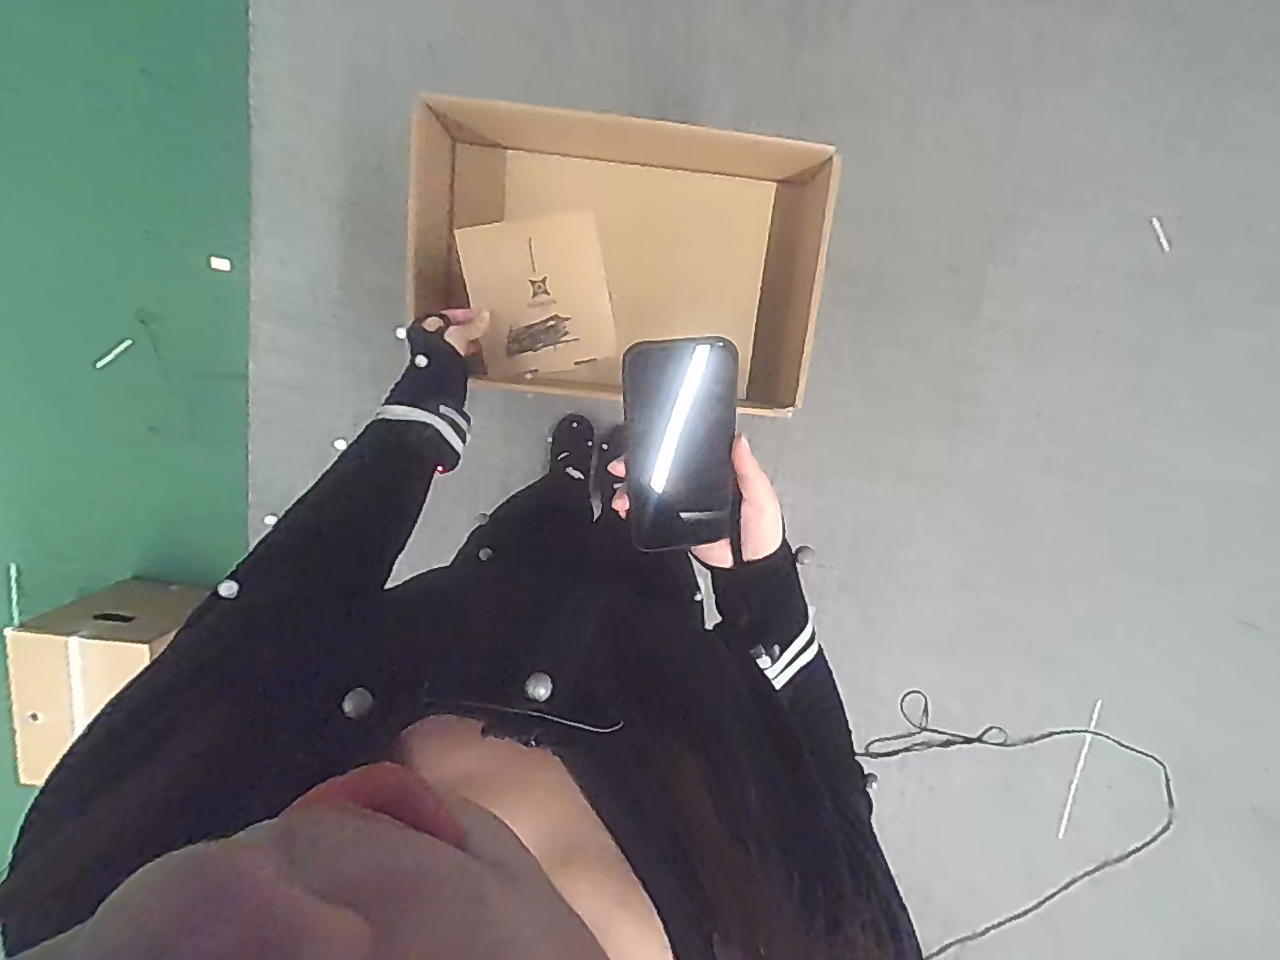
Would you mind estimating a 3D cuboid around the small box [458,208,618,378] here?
[{"bbox_3d":[-0.125,-0.242,0.728,0.168,0.176,0.179,-11,104,-3],"label":"small box"}]
